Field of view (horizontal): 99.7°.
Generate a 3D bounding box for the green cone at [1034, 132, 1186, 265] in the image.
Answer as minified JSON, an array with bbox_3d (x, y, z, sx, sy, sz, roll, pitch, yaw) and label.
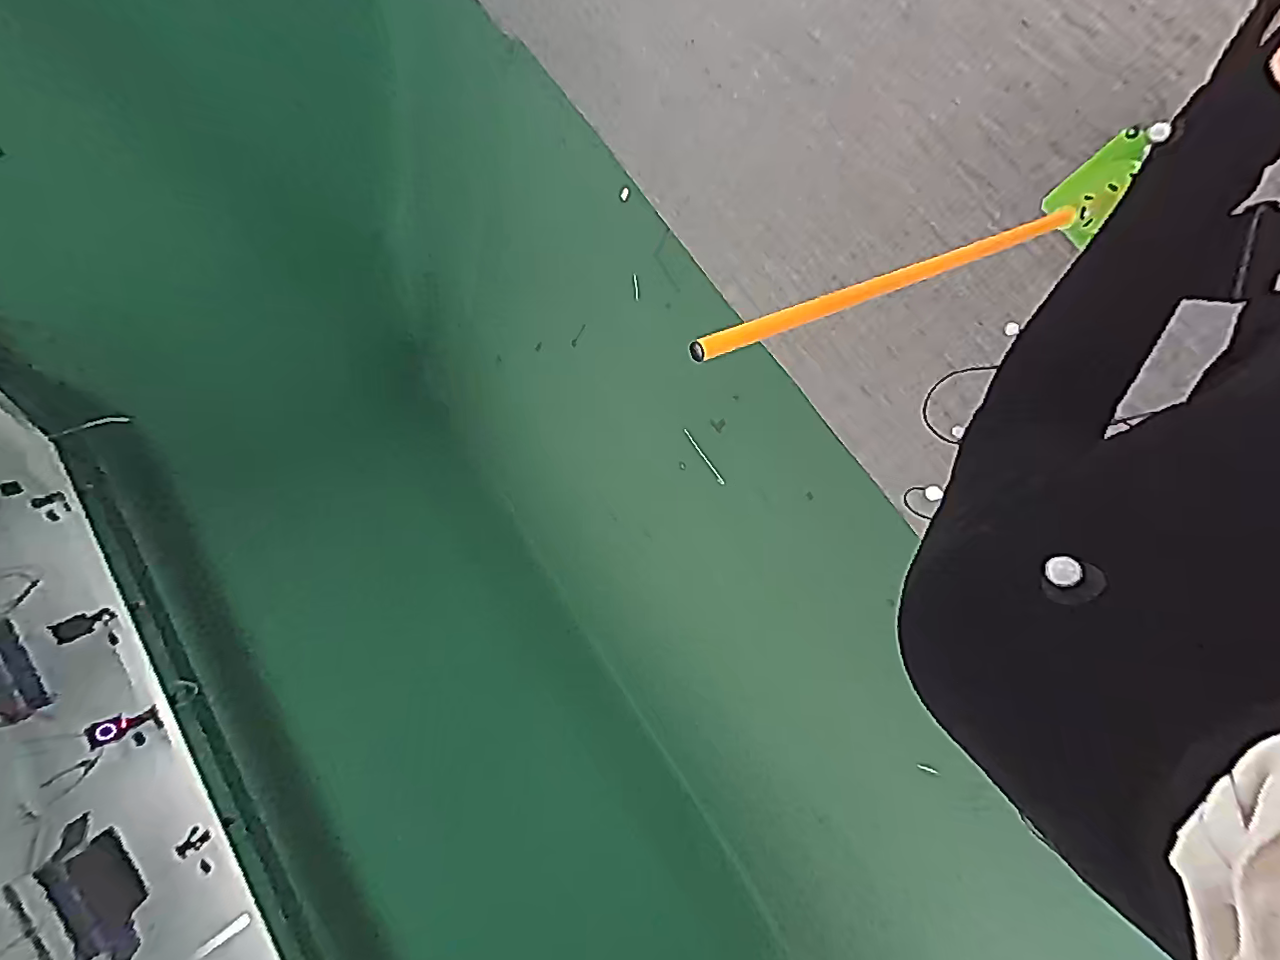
[{"bbox_3d":[0.886,-0.537,1.083,0.202,0.368,0.200,55,147,9],"label":"green cone"}]
